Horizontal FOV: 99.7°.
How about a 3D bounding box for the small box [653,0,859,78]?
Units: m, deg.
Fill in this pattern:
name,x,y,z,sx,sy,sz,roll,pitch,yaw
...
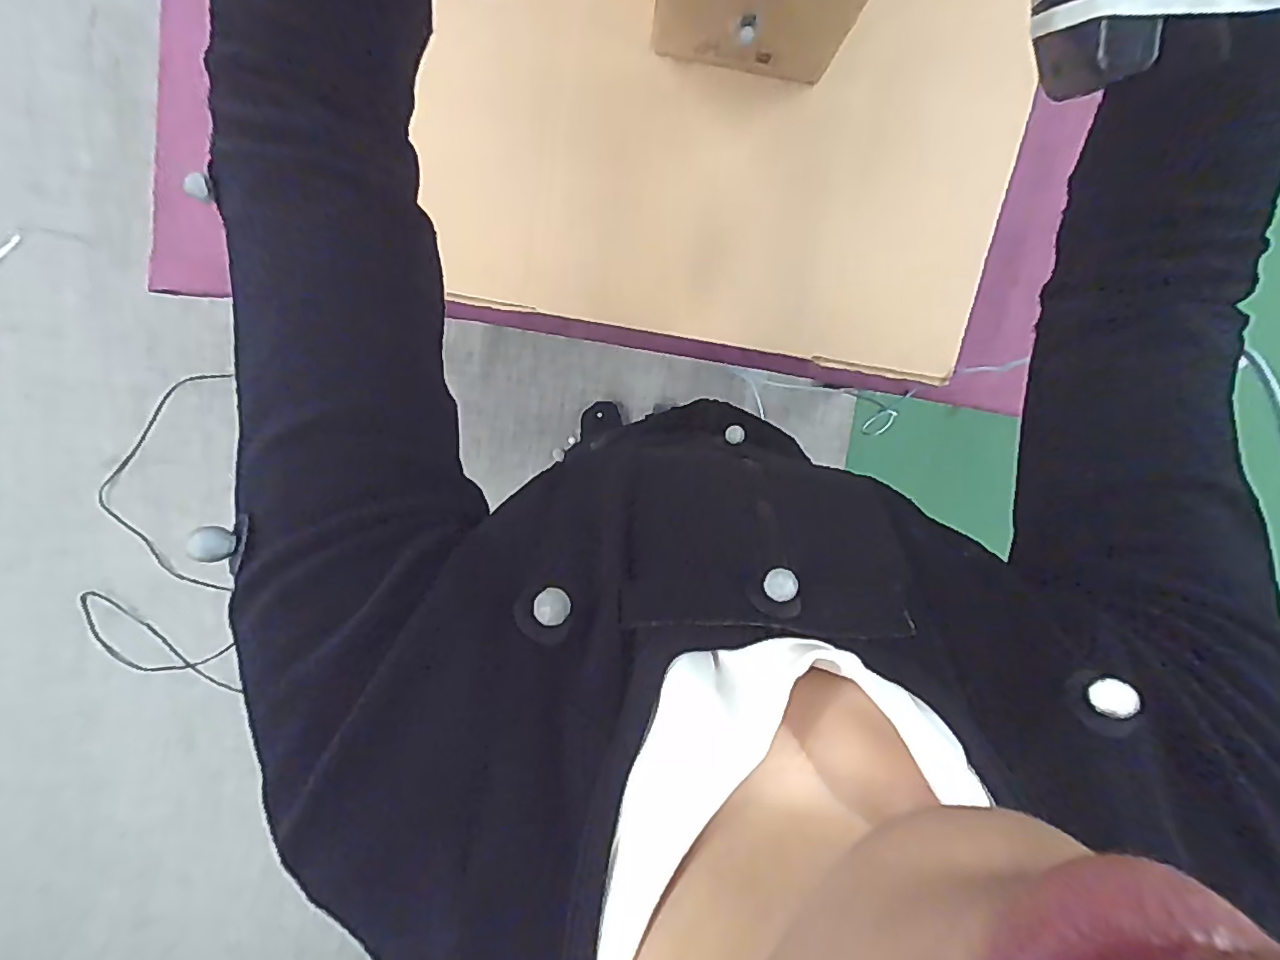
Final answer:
name,x,y,z,sx,sy,sz,roll,pitch,yaw
small box,0.106,-0.472,0.425,0.168,0.176,0.179,9,96,-3
